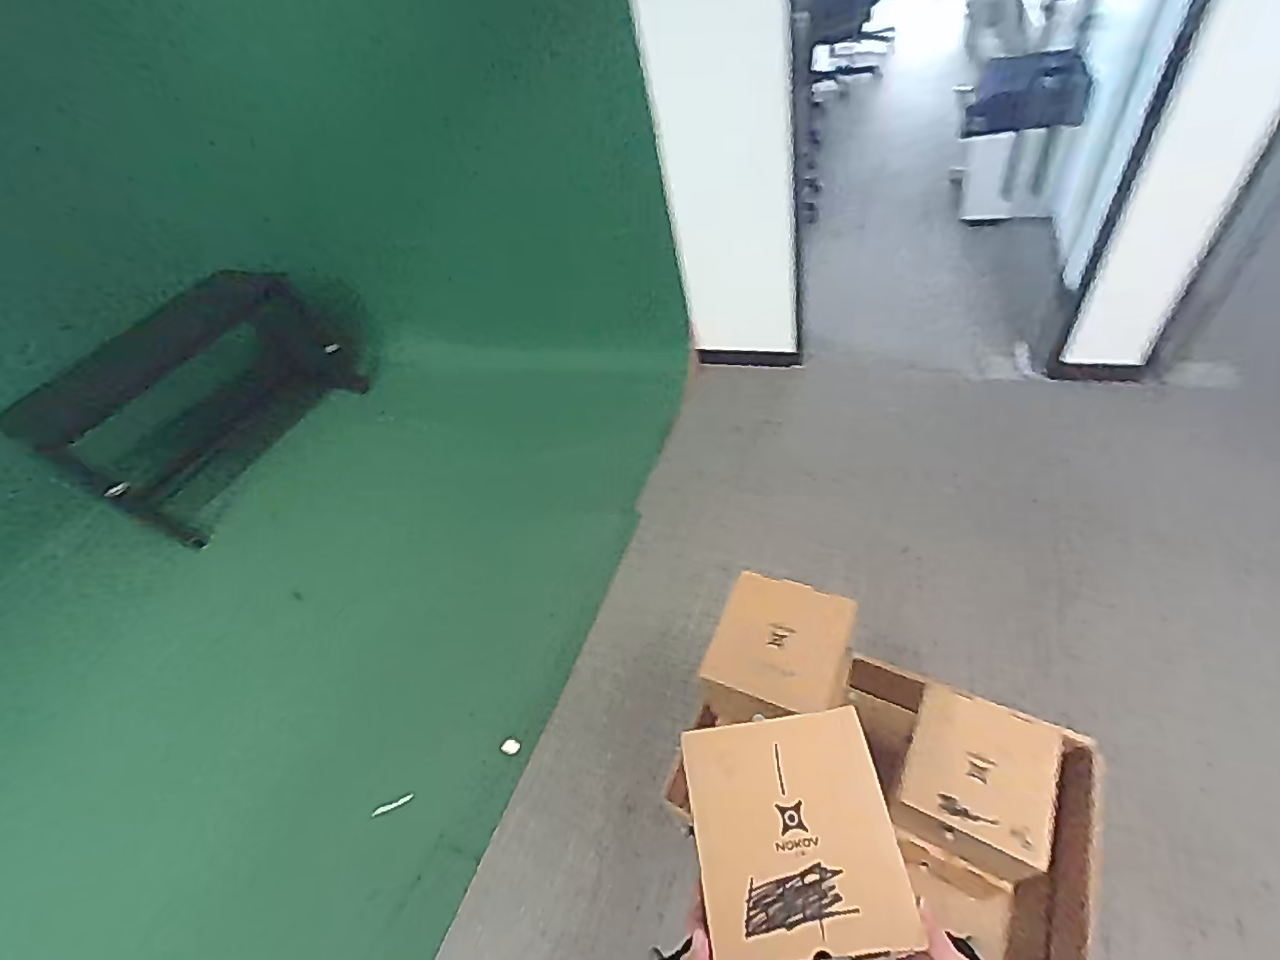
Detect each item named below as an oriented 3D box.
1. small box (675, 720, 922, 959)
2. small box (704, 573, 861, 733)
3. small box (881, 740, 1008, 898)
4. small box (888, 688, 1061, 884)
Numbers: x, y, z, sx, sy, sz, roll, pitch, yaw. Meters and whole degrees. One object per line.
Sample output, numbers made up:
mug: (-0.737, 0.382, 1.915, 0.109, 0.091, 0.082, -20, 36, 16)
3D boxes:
small box: (0.130, 0.342, 0.520, 0.168, 0.176, 0.179, -9, 60, -1)
small box: (0.207, 0.270, 0.781, 0.168, 0.176, 0.179, 14, 55, 27)
small box: (0.504, 0.552, 0.898, 0.168, 0.176, 0.179, 16, 58, 27)
small box: (0.472, 0.441, 0.781, 0.168, 0.176, 0.179, 17, 57, 28)
